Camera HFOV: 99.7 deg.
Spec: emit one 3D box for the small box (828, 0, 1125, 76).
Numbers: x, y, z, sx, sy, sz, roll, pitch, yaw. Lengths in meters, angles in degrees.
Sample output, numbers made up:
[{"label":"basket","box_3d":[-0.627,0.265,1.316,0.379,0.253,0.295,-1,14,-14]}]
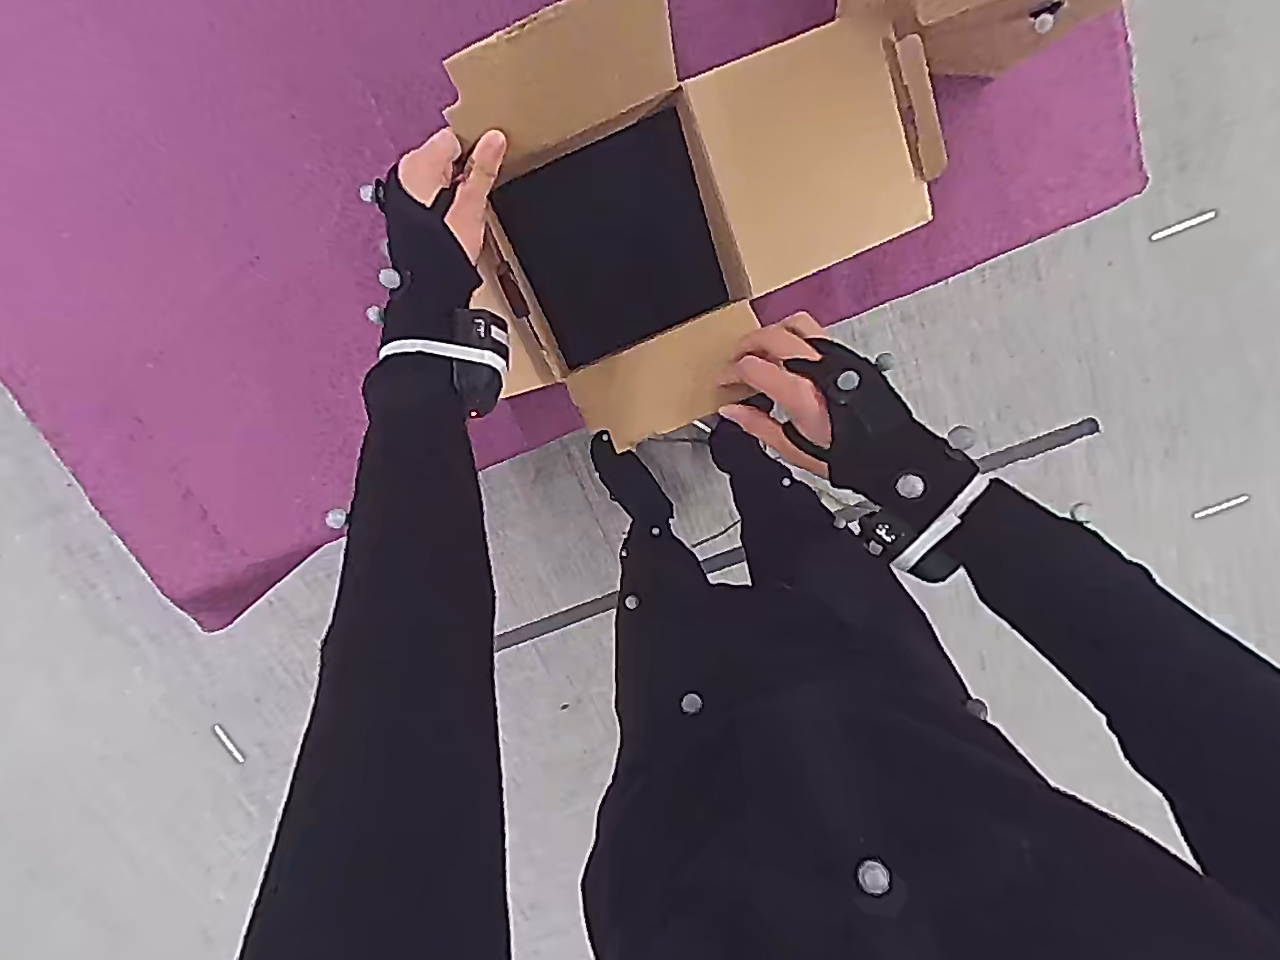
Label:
[{"label":"small box","box_3d":[0.279,-0.459,0.439,0.179,0.176,0.168,2,106,-3]}]
